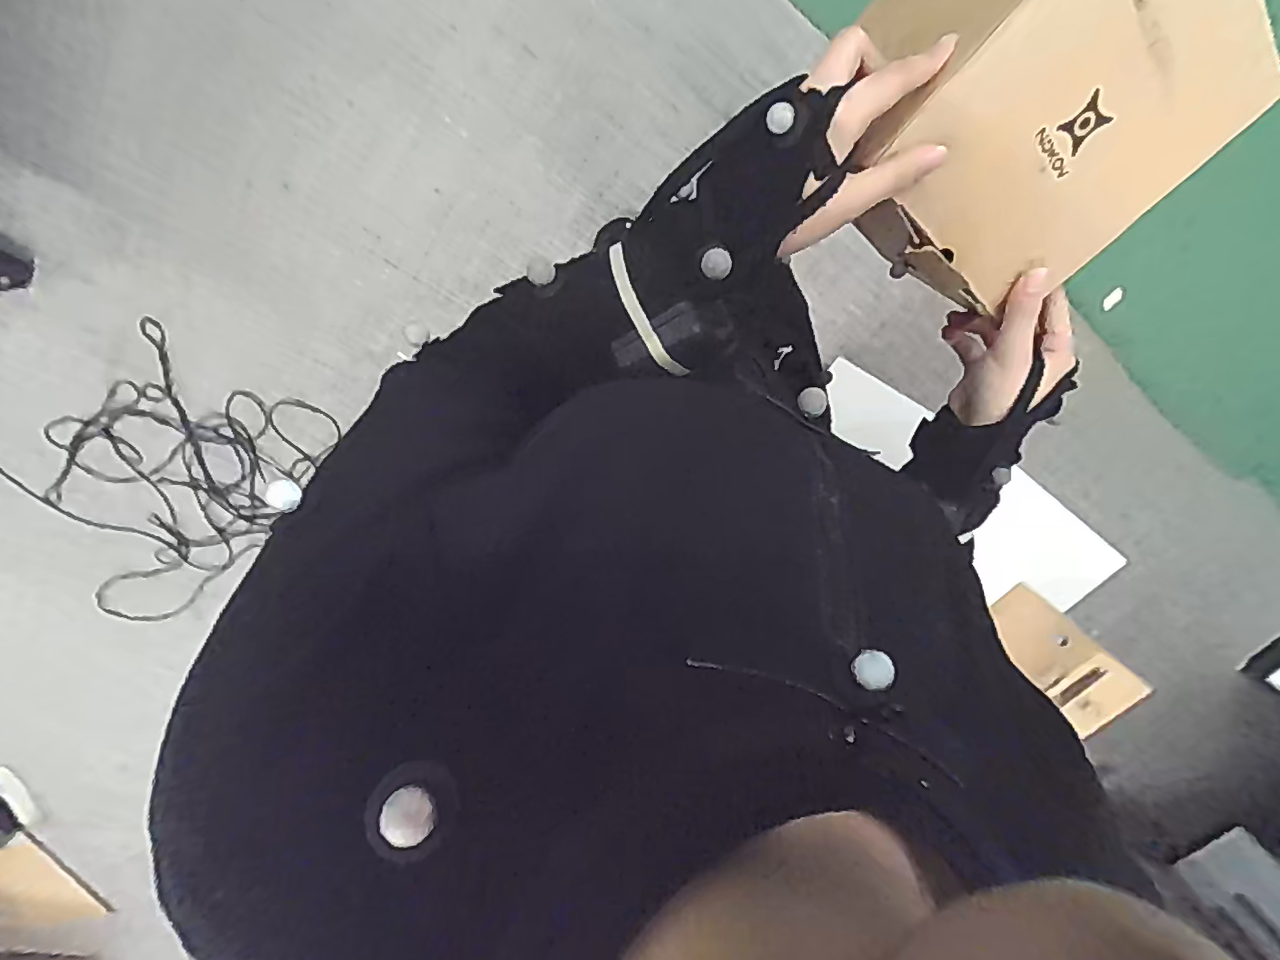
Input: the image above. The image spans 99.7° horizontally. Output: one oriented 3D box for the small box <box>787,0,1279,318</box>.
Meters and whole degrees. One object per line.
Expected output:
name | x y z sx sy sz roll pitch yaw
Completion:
small box | 0.220 -0.247 0.352 0.168 0.176 0.179 26 119 -28
